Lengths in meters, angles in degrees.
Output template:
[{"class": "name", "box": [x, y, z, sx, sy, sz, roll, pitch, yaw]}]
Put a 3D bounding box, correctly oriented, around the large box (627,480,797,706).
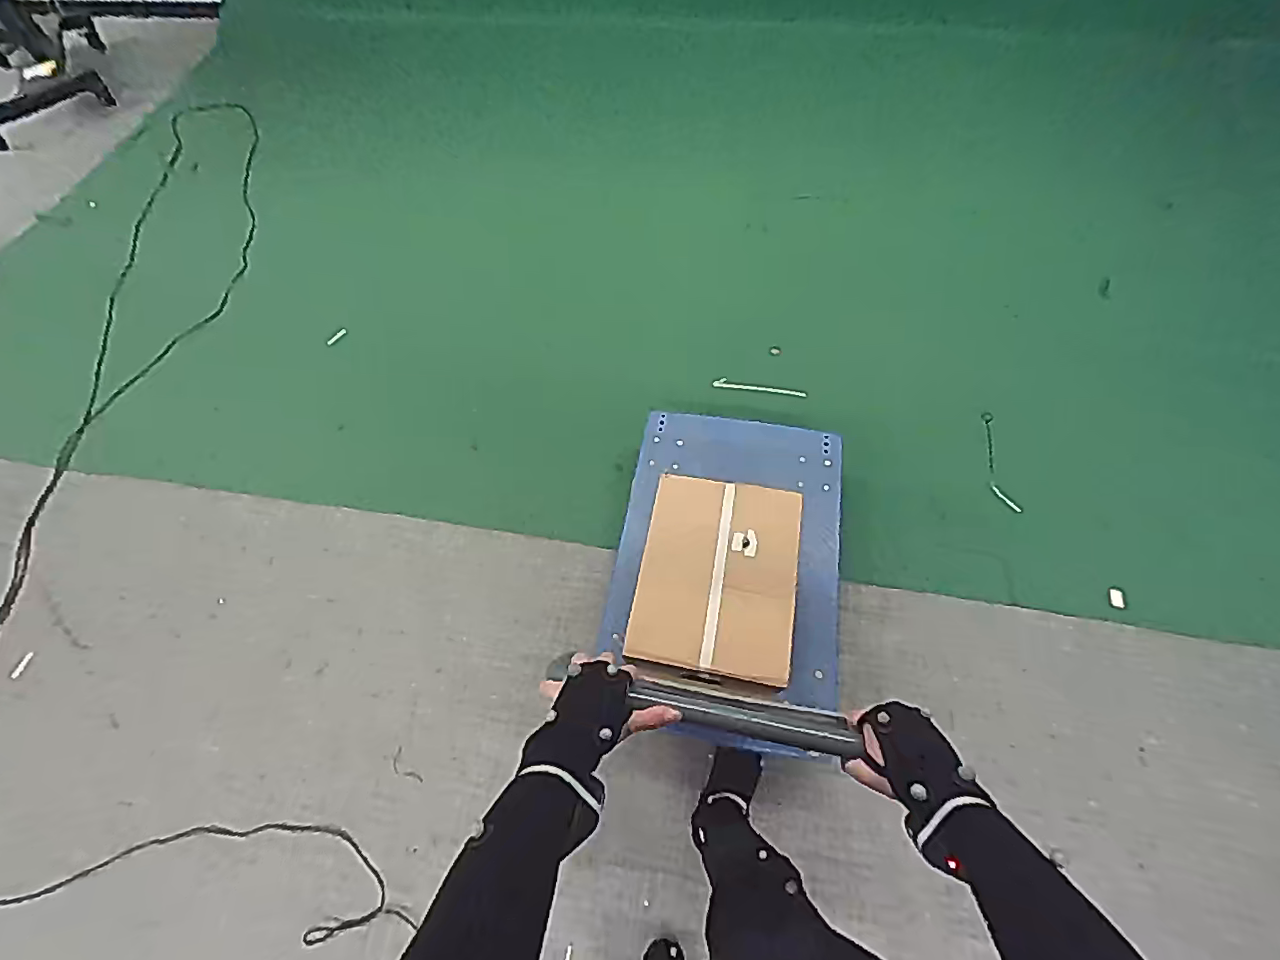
[{"class": "large box", "box": [0.167, 0.263, 1.232, 0.320, 0.320, 0.408, 9, 62, 8]}]
